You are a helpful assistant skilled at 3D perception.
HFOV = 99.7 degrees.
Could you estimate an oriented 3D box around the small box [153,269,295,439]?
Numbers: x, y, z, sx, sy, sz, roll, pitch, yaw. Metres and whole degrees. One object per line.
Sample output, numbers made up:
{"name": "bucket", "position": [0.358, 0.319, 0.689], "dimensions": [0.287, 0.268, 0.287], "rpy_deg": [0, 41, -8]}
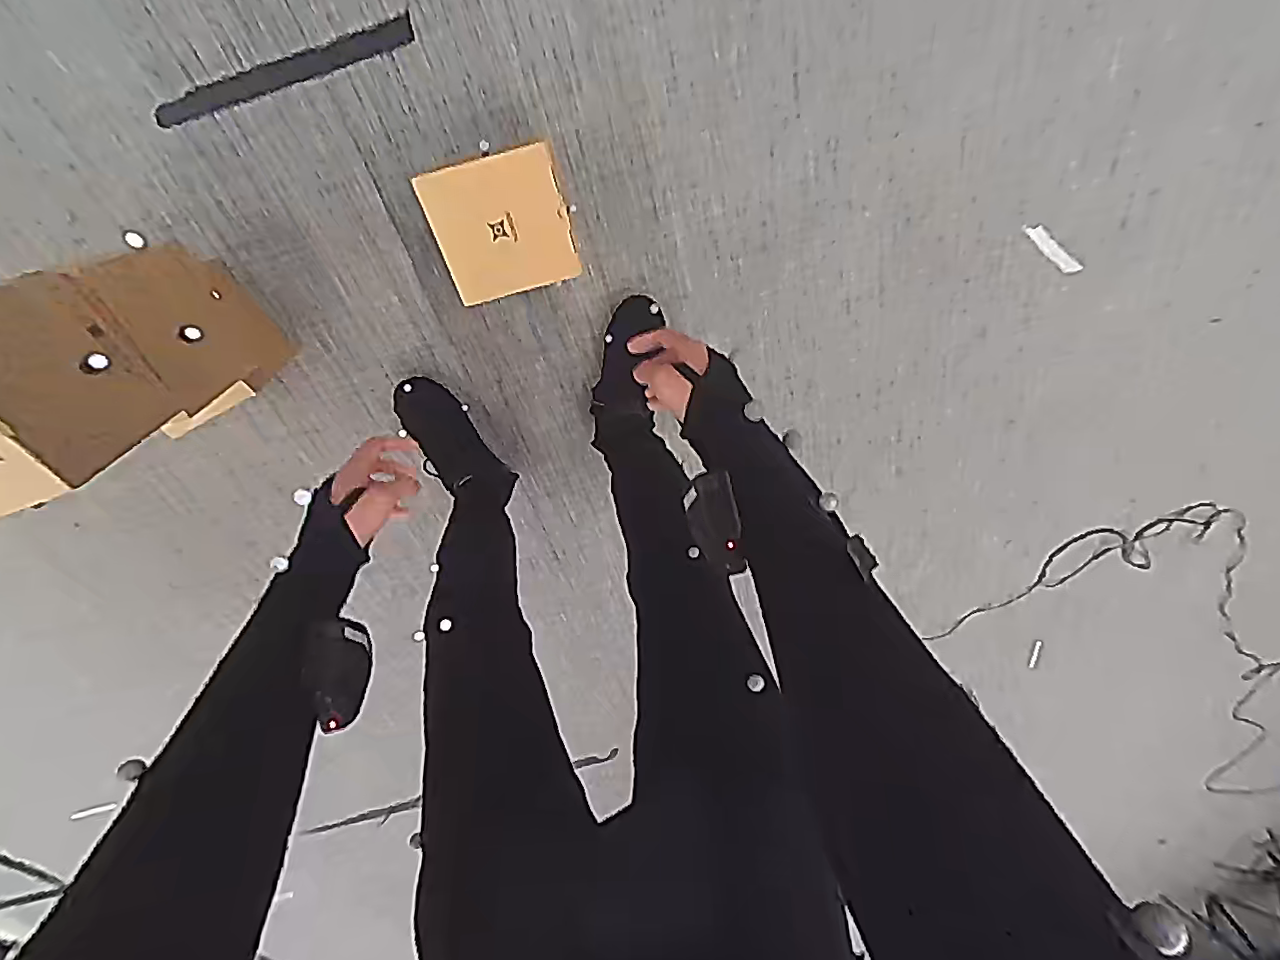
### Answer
{"name": "small box", "position": [-0.679, -0.199, 0.818], "dimensions": [0.168, 0.176, 0.179], "rpy_deg": [-24, 124, 10]}

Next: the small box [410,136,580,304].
{"name": "small box", "position": [-0.191, -0.372, 0.768], "dimensions": [0.179, 0.176, 0.168], "rpy_deg": [-15, 125, 2]}

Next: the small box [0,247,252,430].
{"name": "small box", "position": [-0.625, -0.168, 0.648], "dimensions": [0.168, 0.176, 0.179], "rpy_deg": [-11, 125, 2]}

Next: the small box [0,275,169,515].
{"name": "small box", "position": [-0.623, -0.072, 0.513], "dimensions": [0.179, 0.176, 0.168], "rpy_deg": [-18, 124, 6]}
